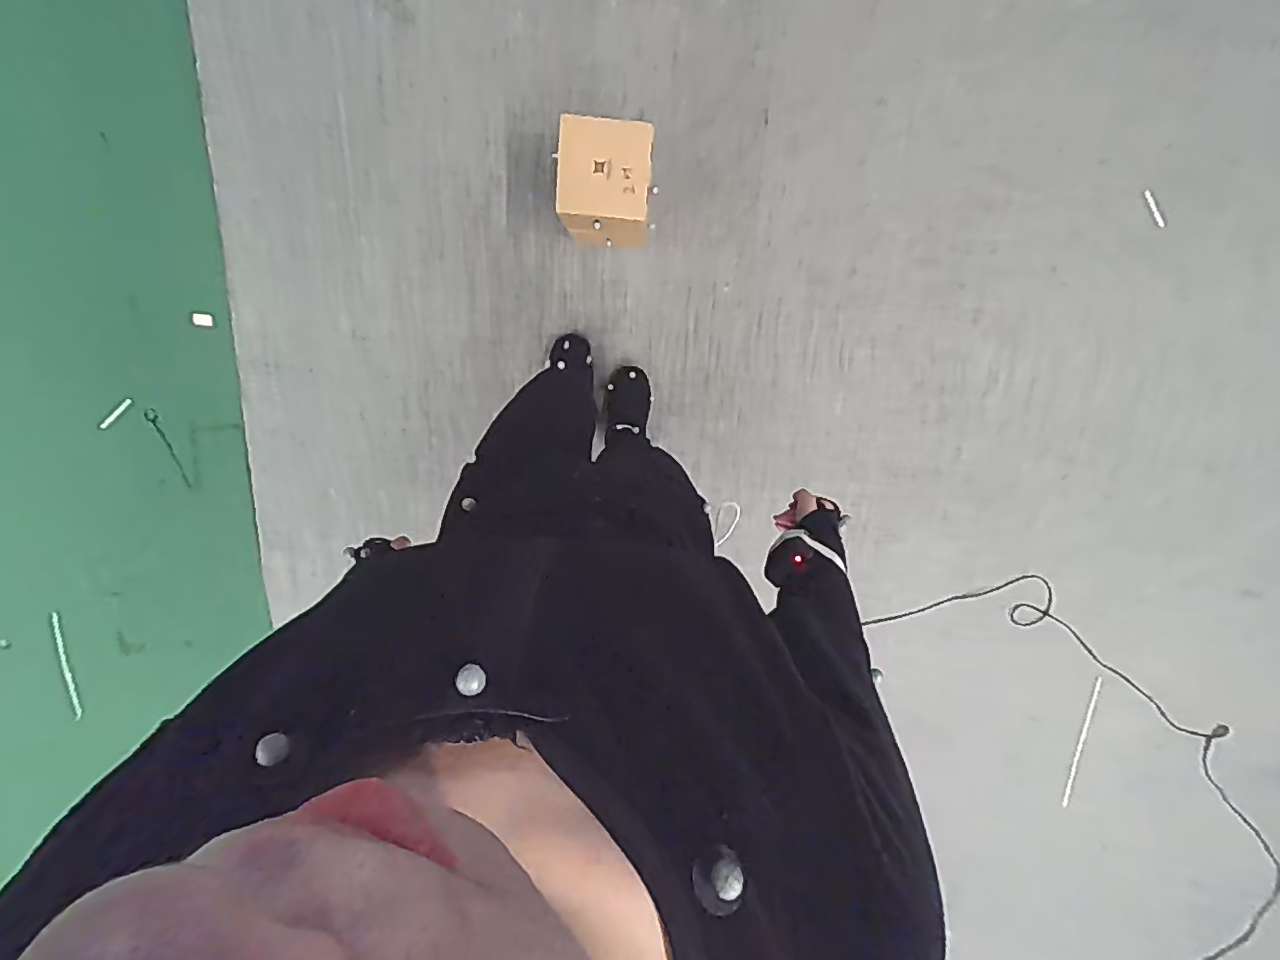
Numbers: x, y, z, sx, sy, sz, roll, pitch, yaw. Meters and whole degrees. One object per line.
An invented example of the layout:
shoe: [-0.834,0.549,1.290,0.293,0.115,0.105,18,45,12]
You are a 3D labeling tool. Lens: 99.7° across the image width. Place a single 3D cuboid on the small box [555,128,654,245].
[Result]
small box: [-0.068,-0.582,1.095,0.179,0.176,0.168,6,105,-1]
